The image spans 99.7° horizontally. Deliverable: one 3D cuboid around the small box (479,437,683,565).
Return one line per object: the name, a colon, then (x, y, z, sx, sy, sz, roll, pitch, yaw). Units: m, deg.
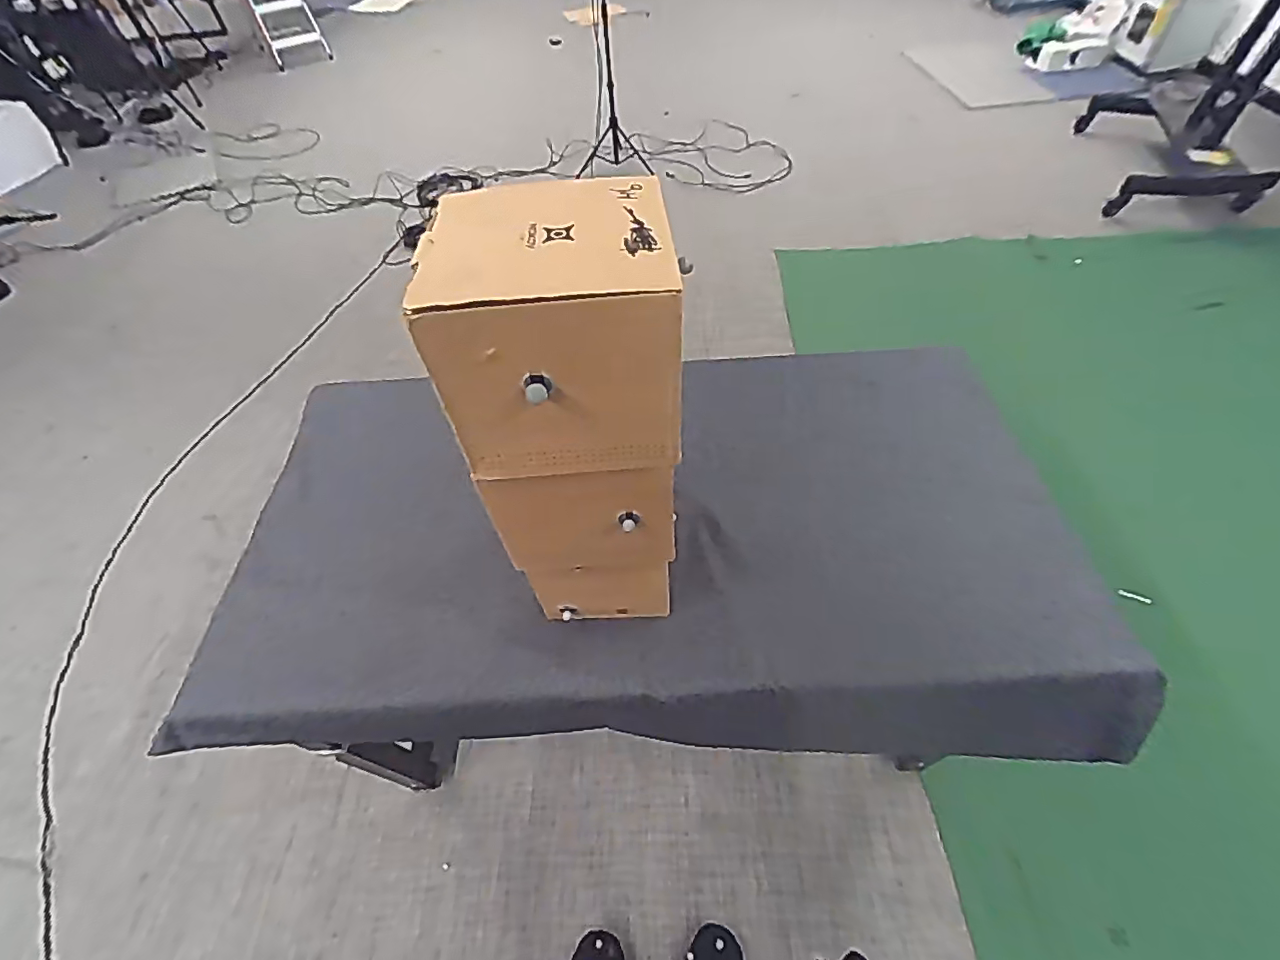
small box: (-0.055, -0.027, 0.567, 0.179, 0.176, 0.168, -6, 52, -2)

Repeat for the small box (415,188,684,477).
small box: (-0.061, -0.118, 0.453, 0.179, 0.176, 0.168, -7, 50, -3)

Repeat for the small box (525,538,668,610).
small box: (-0.048, 0.064, 0.720, 0.168, 0.176, 0.179, -2, 52, 2)
